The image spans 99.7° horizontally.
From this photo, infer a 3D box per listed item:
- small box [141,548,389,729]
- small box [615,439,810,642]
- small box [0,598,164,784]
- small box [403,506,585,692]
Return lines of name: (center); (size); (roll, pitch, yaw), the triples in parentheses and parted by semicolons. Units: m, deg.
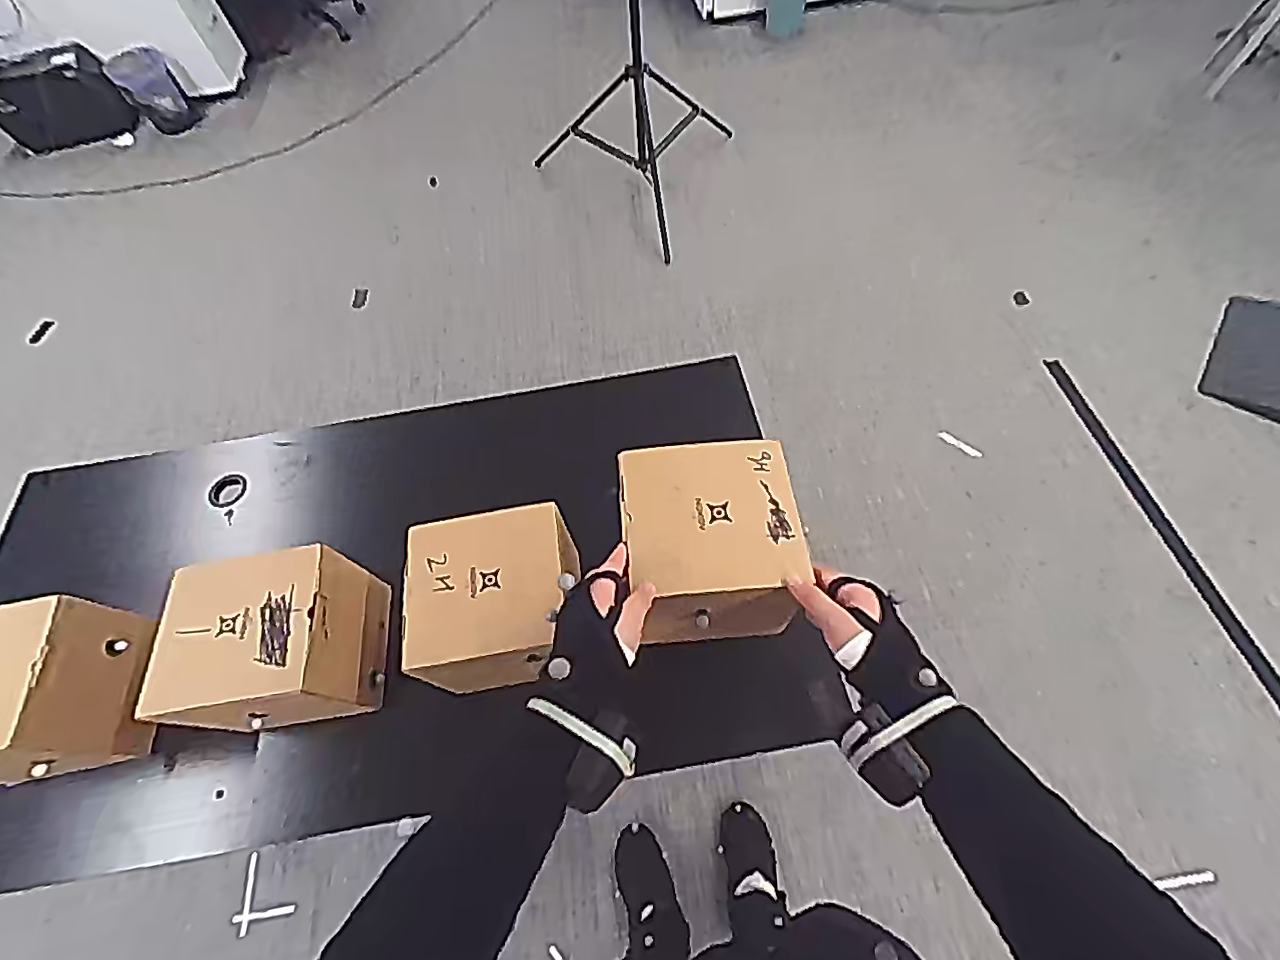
small box: (-0.433, 0.200, 0.662); (0.179, 0.176, 0.168); (-10, 61, 0)
small box: (0.070, 0.074, 0.602); (0.179, 0.176, 0.168); (-5, 59, 0)
small box: (-0.722, 0.260, 0.653); (0.179, 0.176, 0.168); (-12, 60, -2)
small box: (-0.166, 0.153, 0.667); (0.179, 0.176, 0.168); (-10, 60, -1)
